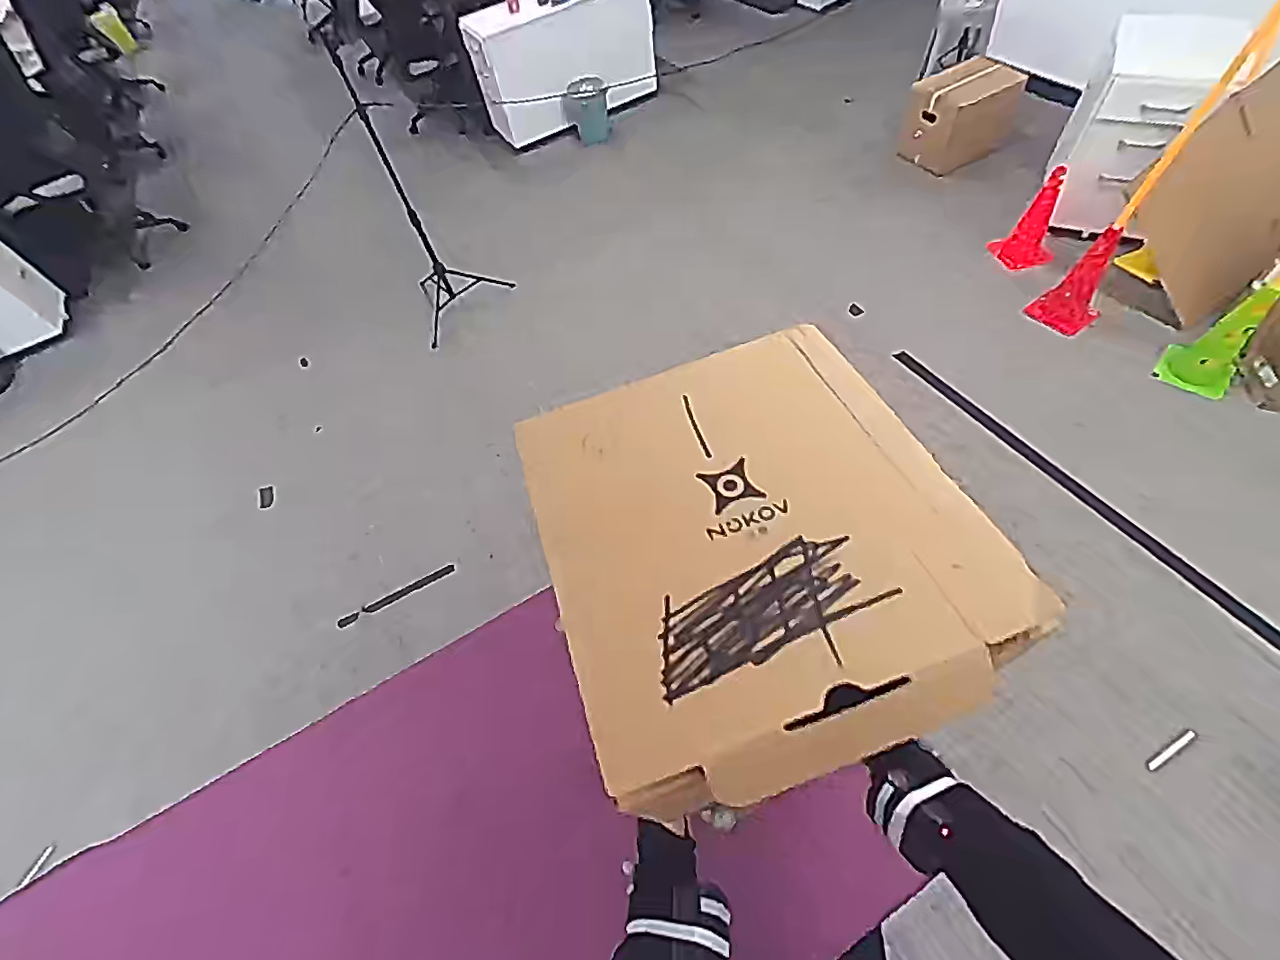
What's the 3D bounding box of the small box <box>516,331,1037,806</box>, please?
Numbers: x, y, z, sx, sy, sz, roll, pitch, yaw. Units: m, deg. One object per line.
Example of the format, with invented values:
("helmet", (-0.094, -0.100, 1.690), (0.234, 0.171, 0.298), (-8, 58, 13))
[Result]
("small box", (0.051, 0.058, 0.297), (0.168, 0.176, 0.179), (-20, 54, -4))
